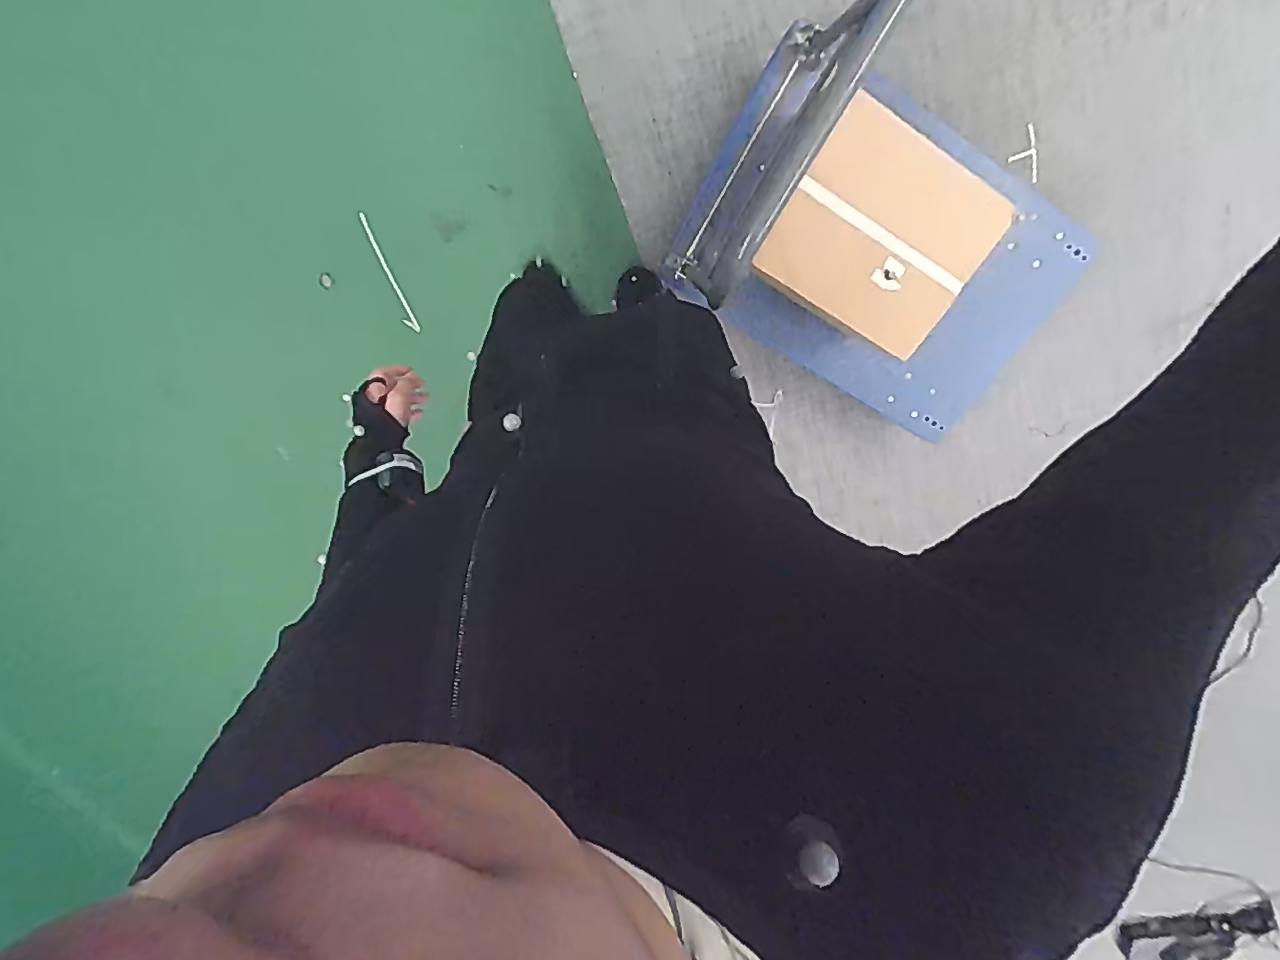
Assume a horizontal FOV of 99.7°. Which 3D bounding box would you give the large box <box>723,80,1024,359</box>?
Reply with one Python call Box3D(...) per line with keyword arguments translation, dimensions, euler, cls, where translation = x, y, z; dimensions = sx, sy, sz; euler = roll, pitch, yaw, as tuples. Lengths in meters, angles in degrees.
Box3D(translation=(0.433, -0.504, 1.102), dimensions=(0.408, 0.320, 0.320), euler=(28, 112, -12), cls="large box")
